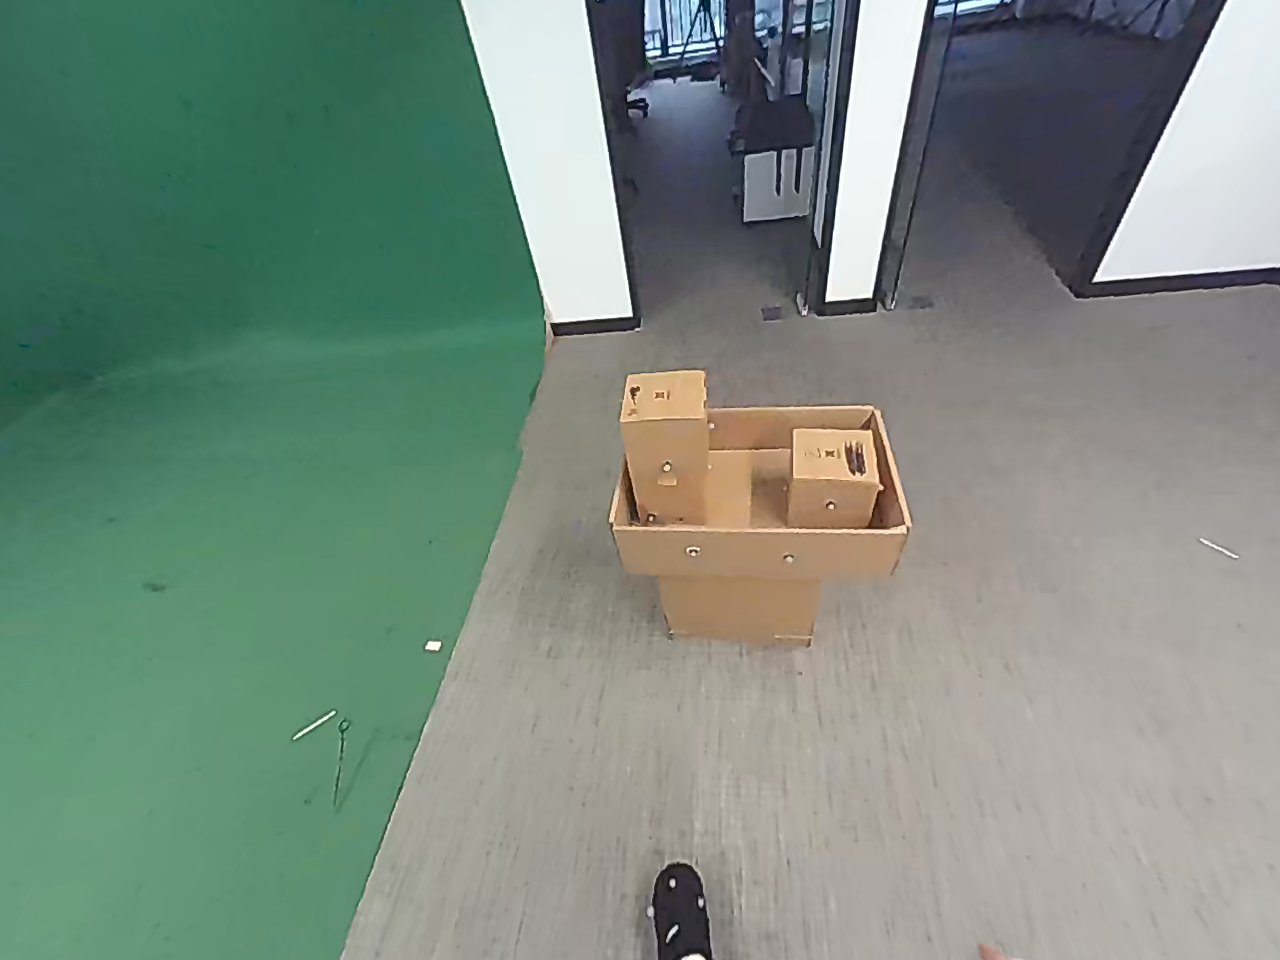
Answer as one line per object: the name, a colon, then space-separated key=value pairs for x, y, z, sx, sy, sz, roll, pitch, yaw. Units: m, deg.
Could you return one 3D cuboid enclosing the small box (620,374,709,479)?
small box: x=0.062 y=-0.115 z=1.198 sx=0.179 sy=0.176 sz=0.168 roll=-1 pitch=45 yaw=9
